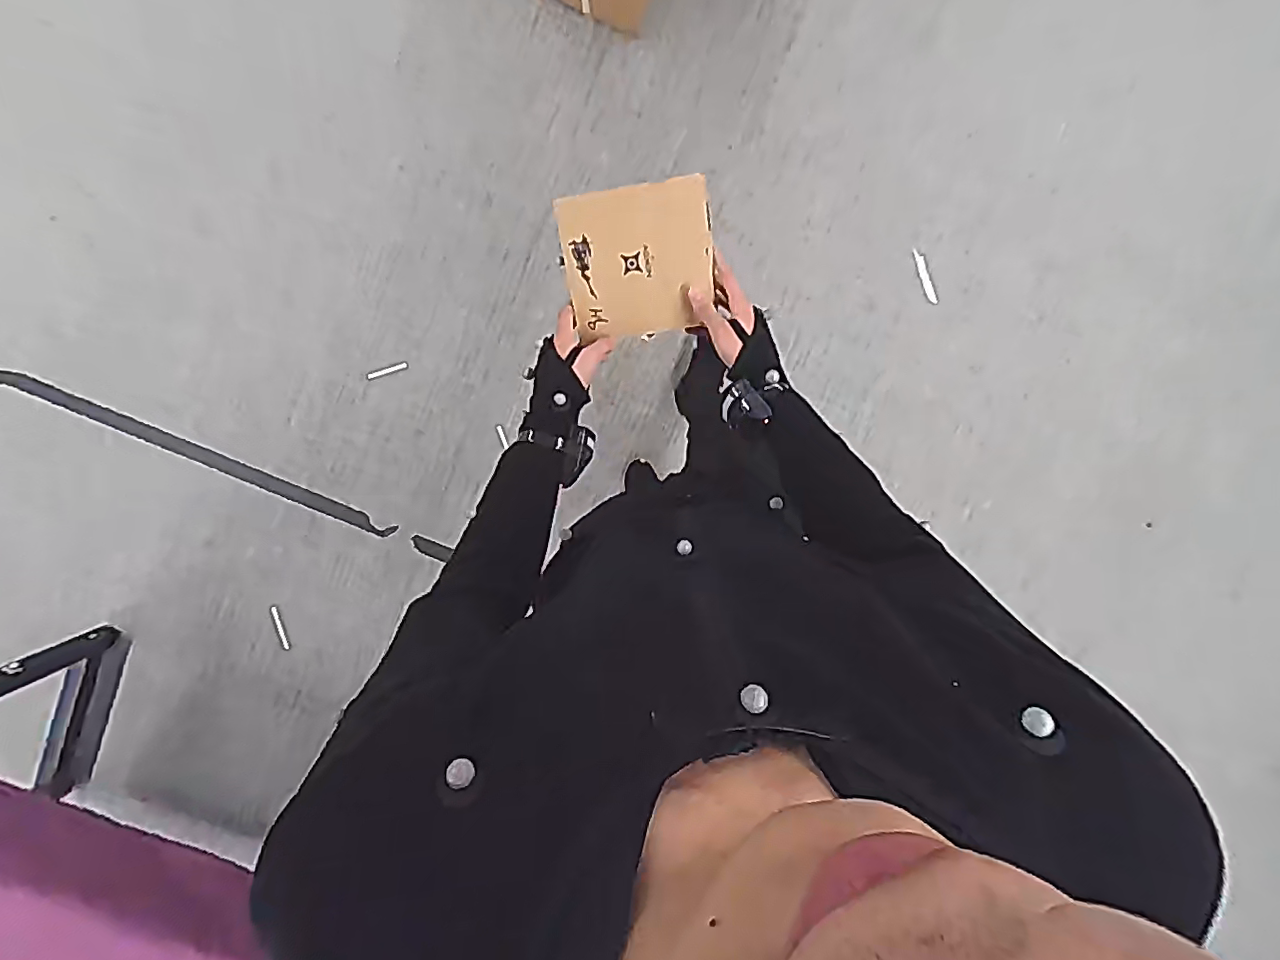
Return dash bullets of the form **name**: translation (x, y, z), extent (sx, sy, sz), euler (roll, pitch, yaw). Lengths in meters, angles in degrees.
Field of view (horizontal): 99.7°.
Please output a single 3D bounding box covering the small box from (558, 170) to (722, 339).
- **small box**: translation (0.001, -0.289, 0.704), extent (0.179, 0.176, 0.168), euler (-8, 111, 3)
